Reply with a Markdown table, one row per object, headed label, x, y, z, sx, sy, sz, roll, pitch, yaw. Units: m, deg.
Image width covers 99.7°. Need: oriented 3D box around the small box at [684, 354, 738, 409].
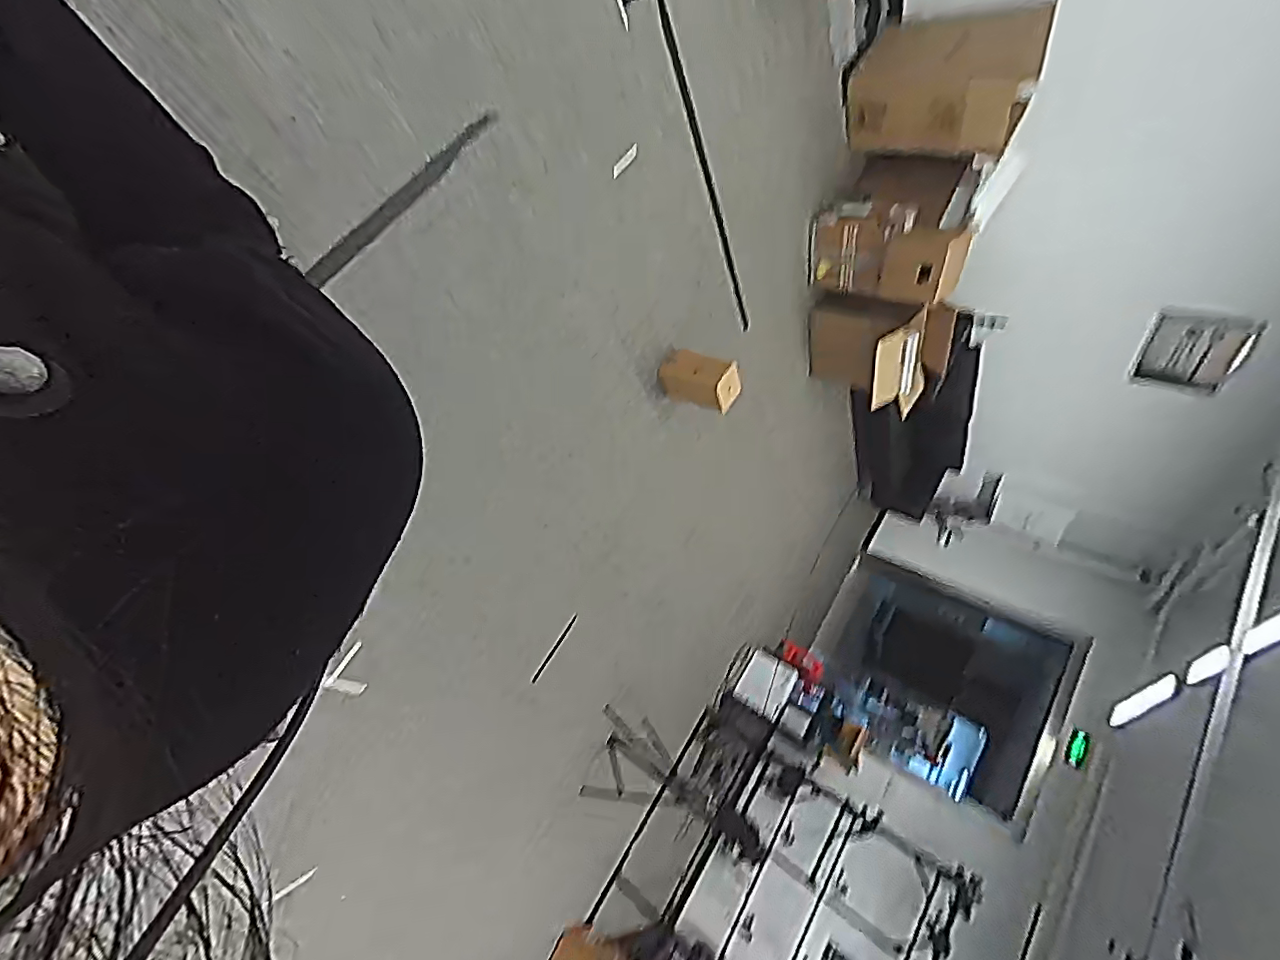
| label | x | y | z | sx | sy | sz | roll | pitch | yaw |
| --- | --- | --- | --- | --- | --- | --- | --- | --- | --- |
| small box | 0.325 | -0.456 | 2.476 | 0.168 | 0.176 | 0.179 | -54 | 143 | -20 |
